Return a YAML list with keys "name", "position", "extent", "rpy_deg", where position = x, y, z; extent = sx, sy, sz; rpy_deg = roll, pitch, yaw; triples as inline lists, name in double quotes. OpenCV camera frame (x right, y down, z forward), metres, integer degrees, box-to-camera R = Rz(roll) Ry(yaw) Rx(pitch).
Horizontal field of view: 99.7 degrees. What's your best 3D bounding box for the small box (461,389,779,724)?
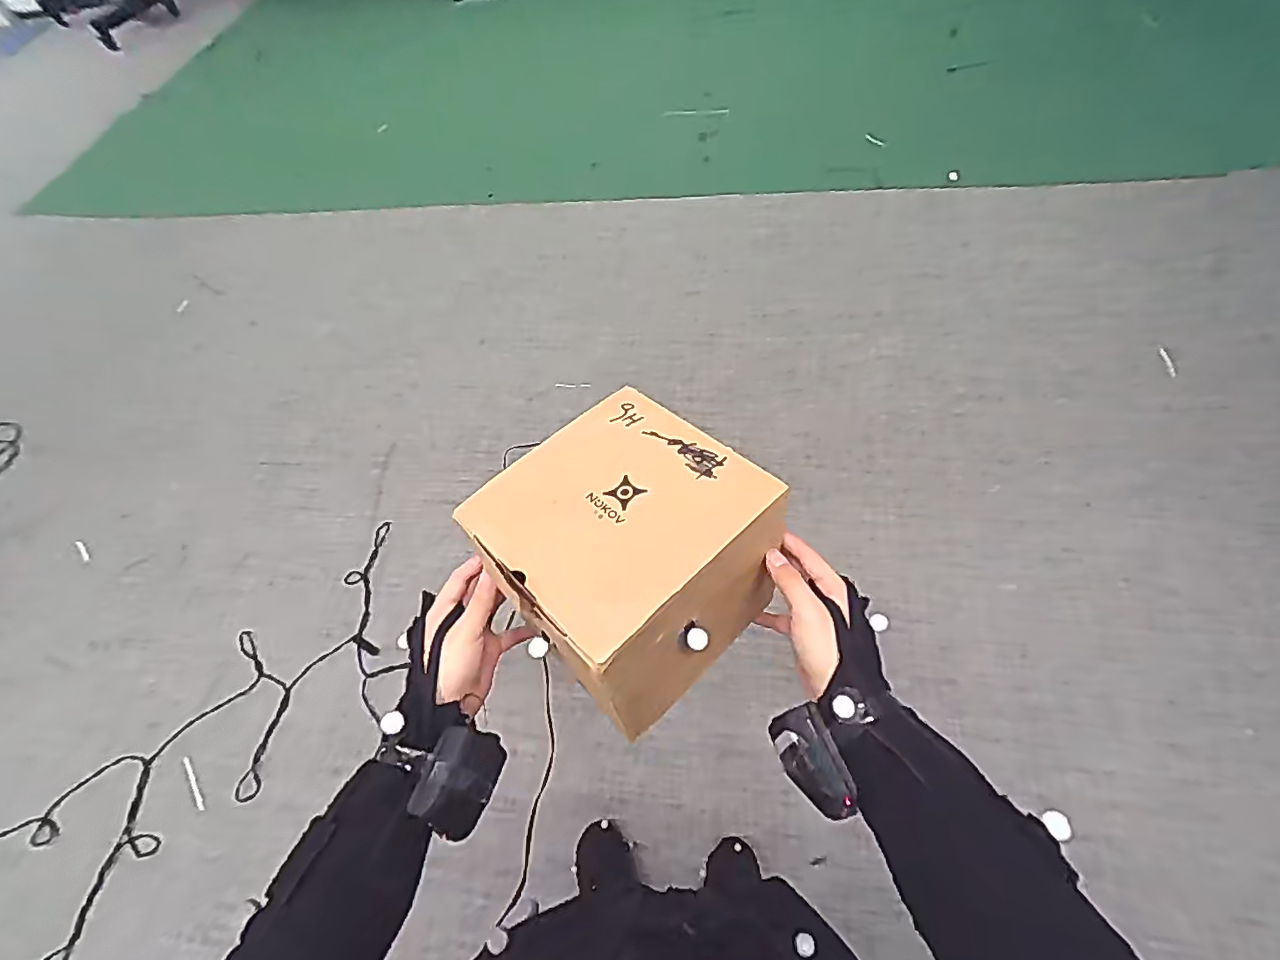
- name: "small box"
  position: [-0.007, 0.065, 0.445]
  extent: [0.179, 0.176, 0.168]
  rpy_deg: [-39, 56, -21]
